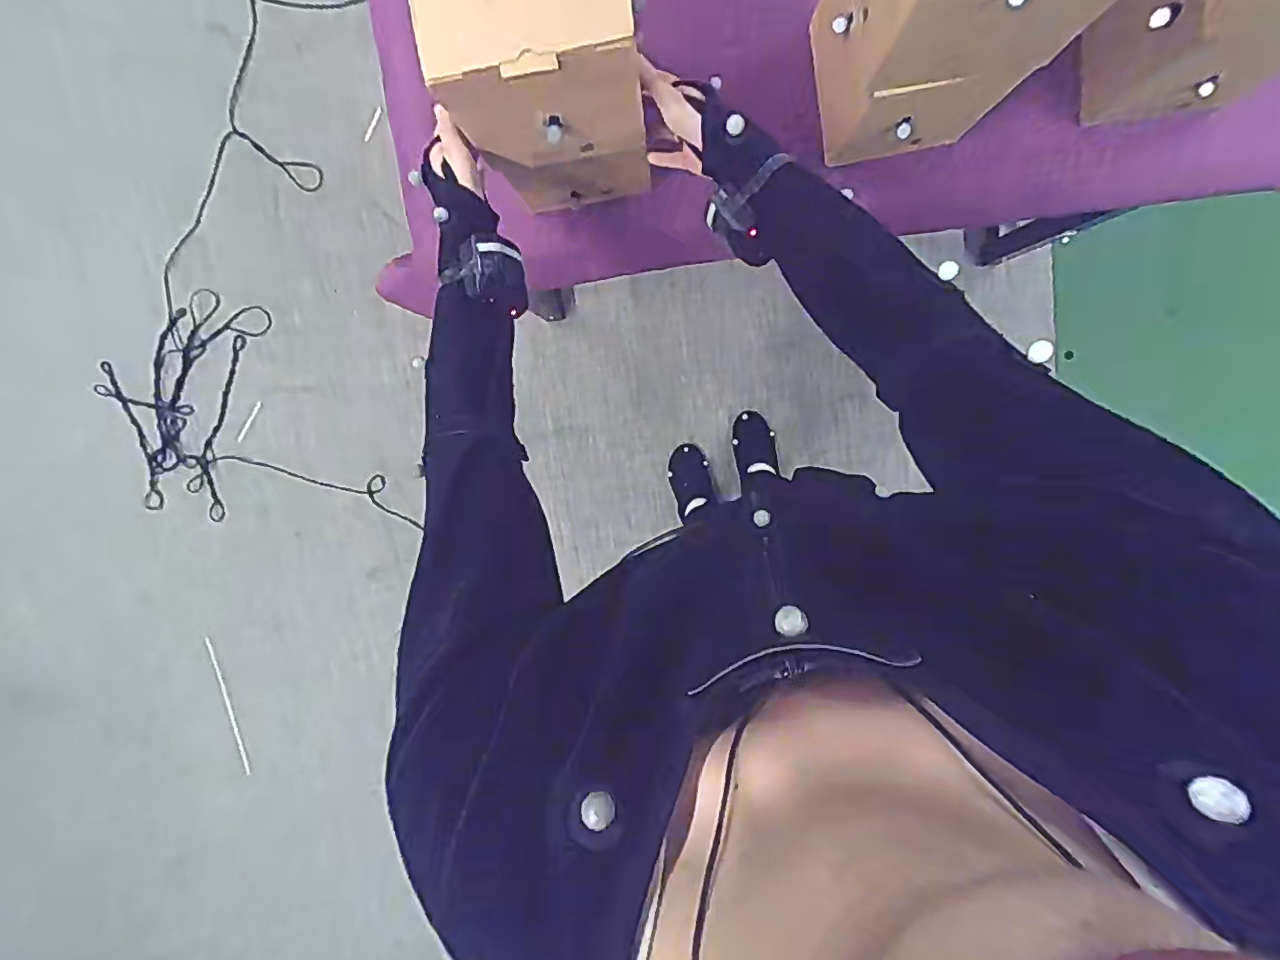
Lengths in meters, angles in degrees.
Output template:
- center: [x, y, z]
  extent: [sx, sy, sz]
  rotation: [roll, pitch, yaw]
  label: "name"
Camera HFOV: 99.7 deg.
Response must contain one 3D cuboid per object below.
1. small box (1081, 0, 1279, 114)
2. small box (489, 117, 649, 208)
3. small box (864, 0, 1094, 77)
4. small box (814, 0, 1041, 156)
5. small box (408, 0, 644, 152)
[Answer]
- center: [0.615, -0.524, 0.576]
  extent: [0.168, 0.176, 0.179]
  rotation: [-5, 97, 4]
  label: "small box"
- center: [-0.083, -0.445, 0.627]
  extent: [0.168, 0.176, 0.179]
  rotation: [-8, 99, 4]
  label: "small box"
- center: [0.292, -0.466, 0.438]
  extent: [0.179, 0.176, 0.168]
  rotation: [-5, 97, 3]
  label: "small box"
- center: [0.303, -0.490, 0.600]
  extent: [0.168, 0.176, 0.179]
  rotation: [-9, 96, 5]
  label: "small box"
- center: [-0.089, -0.411, 0.466]
  extent: [0.168, 0.176, 0.179]
  rotation: [-6, 99, 5]
  label: "small box"
